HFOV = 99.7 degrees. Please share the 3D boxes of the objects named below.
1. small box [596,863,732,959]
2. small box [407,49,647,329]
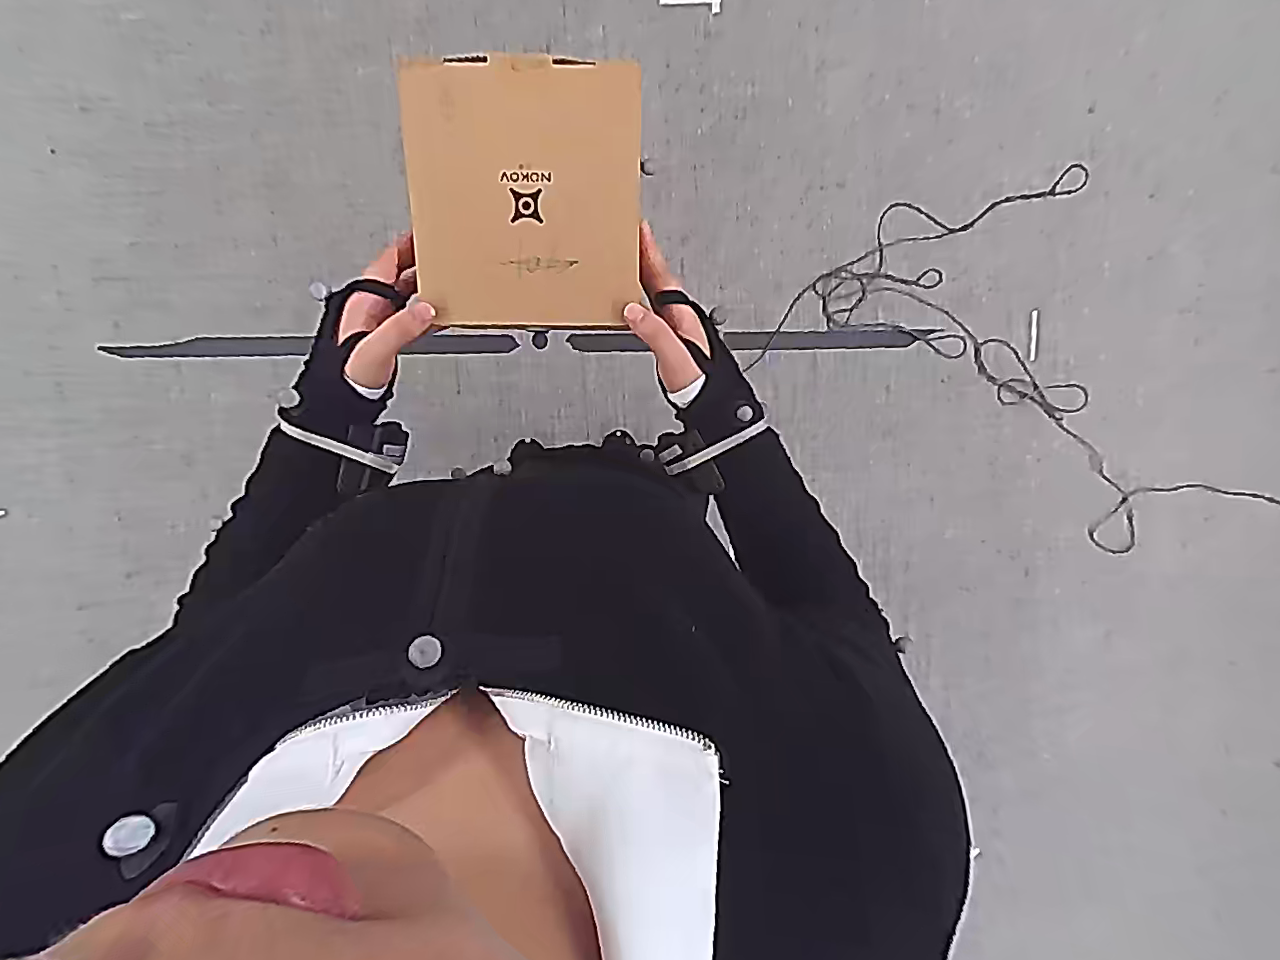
[{"bbox_3d":[0.028,0.670,0.750,0.179,0.176,0.168,-2,96,-3],"label":"small box"},{"bbox_3d":[-0.082,-0.225,0.466,0.168,0.176,0.179,0,104,-2],"label":"small box"}]
